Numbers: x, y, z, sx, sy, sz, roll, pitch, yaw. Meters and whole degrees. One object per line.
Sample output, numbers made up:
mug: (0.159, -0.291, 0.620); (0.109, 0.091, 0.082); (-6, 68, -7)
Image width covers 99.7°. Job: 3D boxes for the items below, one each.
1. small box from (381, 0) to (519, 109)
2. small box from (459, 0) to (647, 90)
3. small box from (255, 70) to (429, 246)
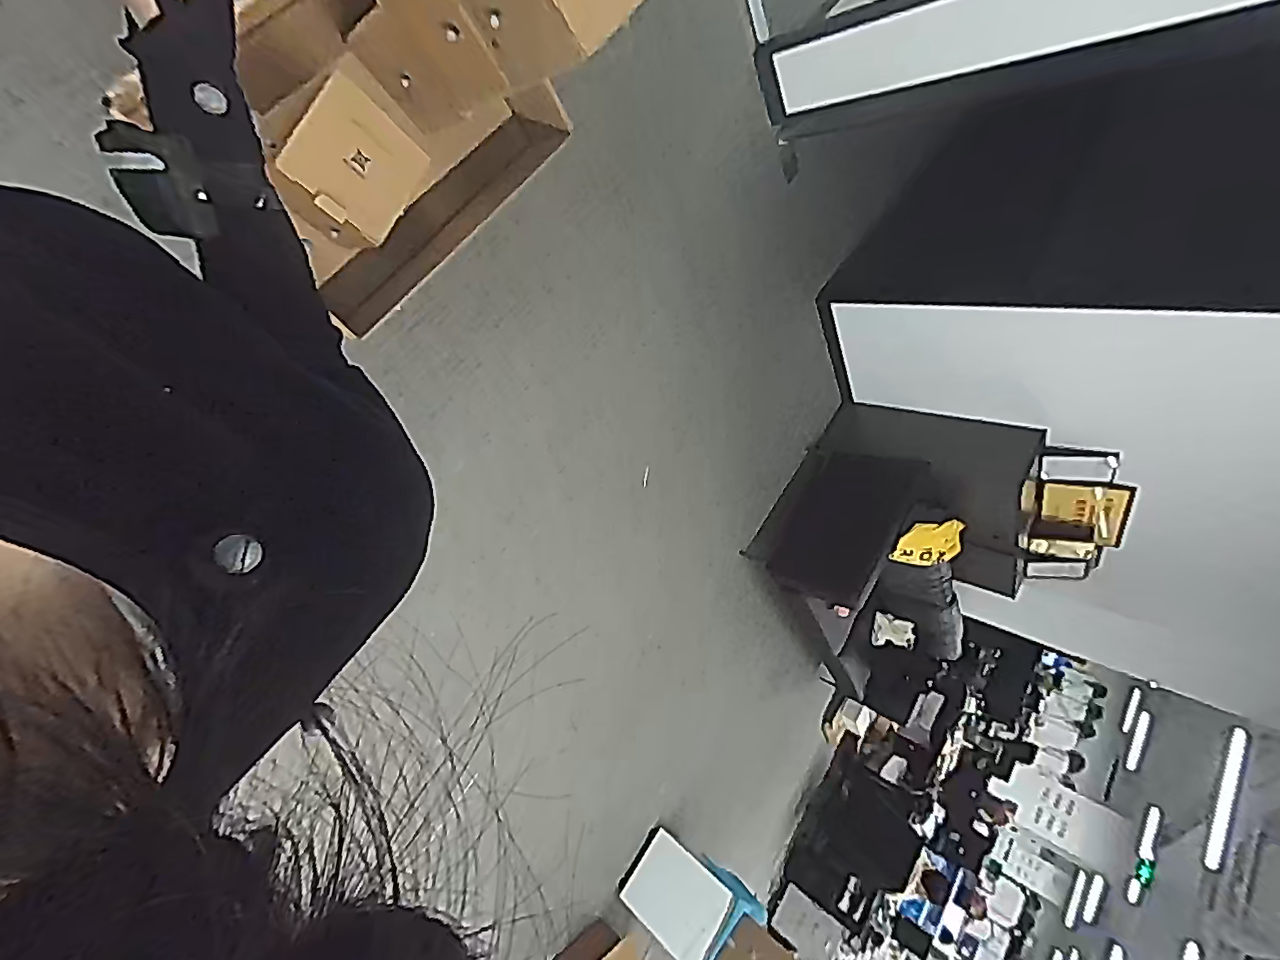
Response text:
small box: (-0.243, -0.694, 0.809); (0.168, 0.176, 0.179); (-57, 135, -14)
small box: (-0.119, -0.658, 0.705); (0.179, 0.176, 0.168); (-55, 134, -16)
small box: (-0.484, -0.500, 0.872); (0.168, 0.176, 0.179); (36, 77, -48)
